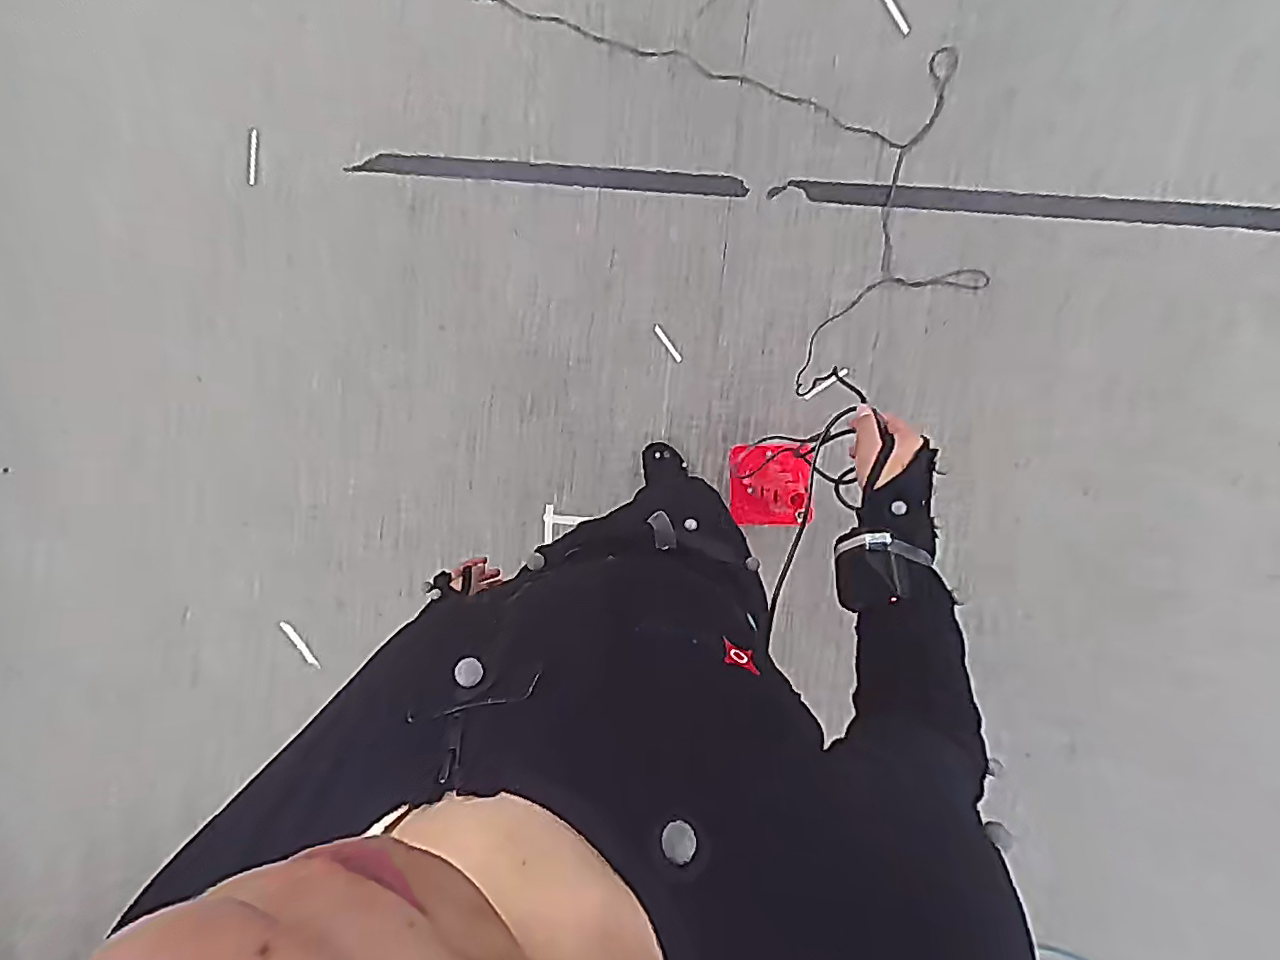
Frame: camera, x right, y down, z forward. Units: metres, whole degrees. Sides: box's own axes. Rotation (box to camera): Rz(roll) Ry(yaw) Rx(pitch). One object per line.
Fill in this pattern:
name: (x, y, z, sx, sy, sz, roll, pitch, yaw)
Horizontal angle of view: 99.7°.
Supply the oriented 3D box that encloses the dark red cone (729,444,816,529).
dark red cone: (0.296, 0.024, 1.126, 0.202, 0.394, 0.201, -2, 92, 7)
